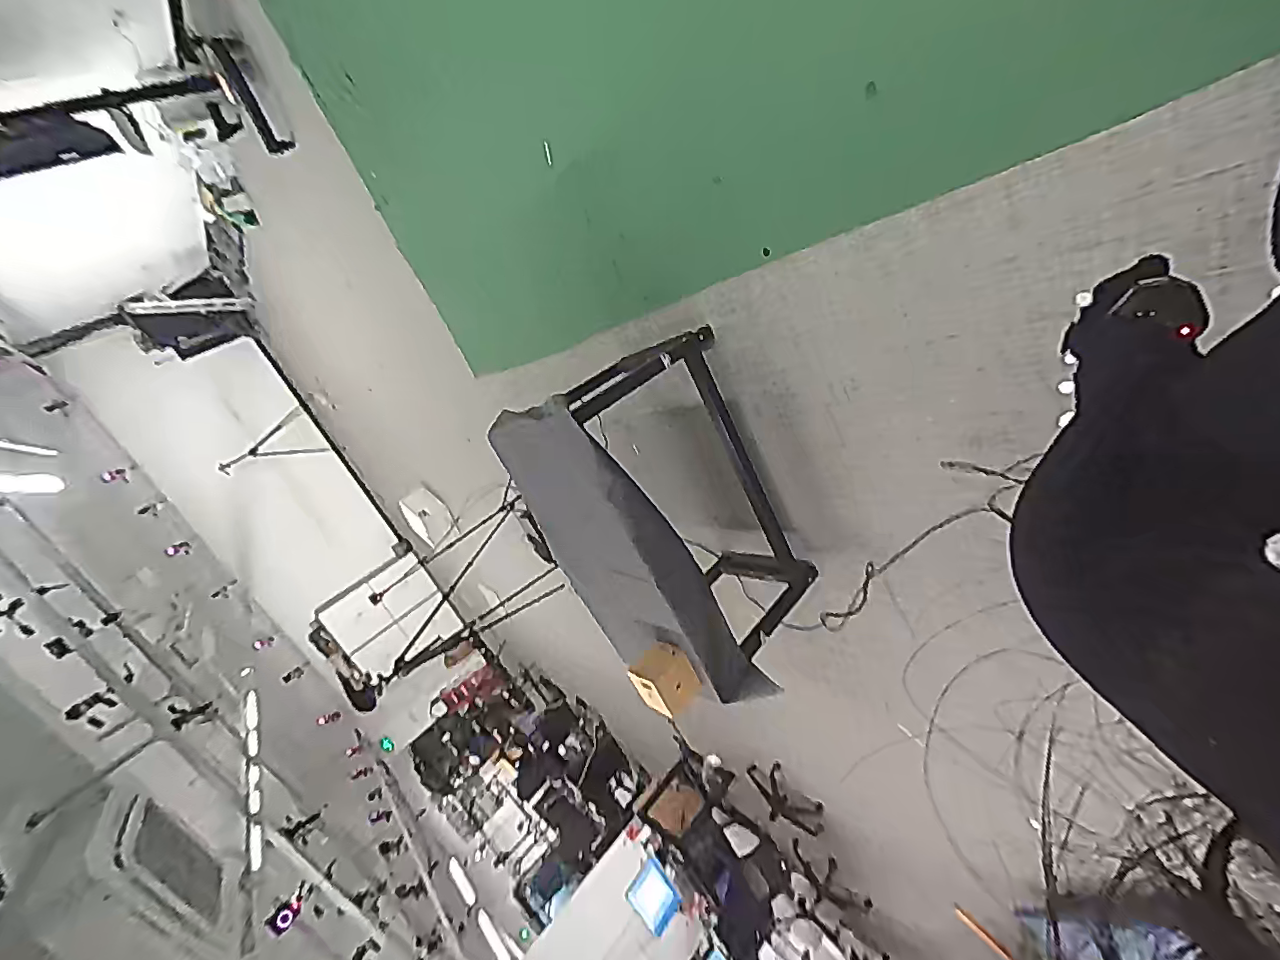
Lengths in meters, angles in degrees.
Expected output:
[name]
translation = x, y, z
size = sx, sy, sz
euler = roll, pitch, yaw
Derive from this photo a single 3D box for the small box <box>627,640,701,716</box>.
[small box]
translation = 0.090, 0.718, 1.984
size = 0.168, 0.176, 0.179
euler = -2, 122, 54
